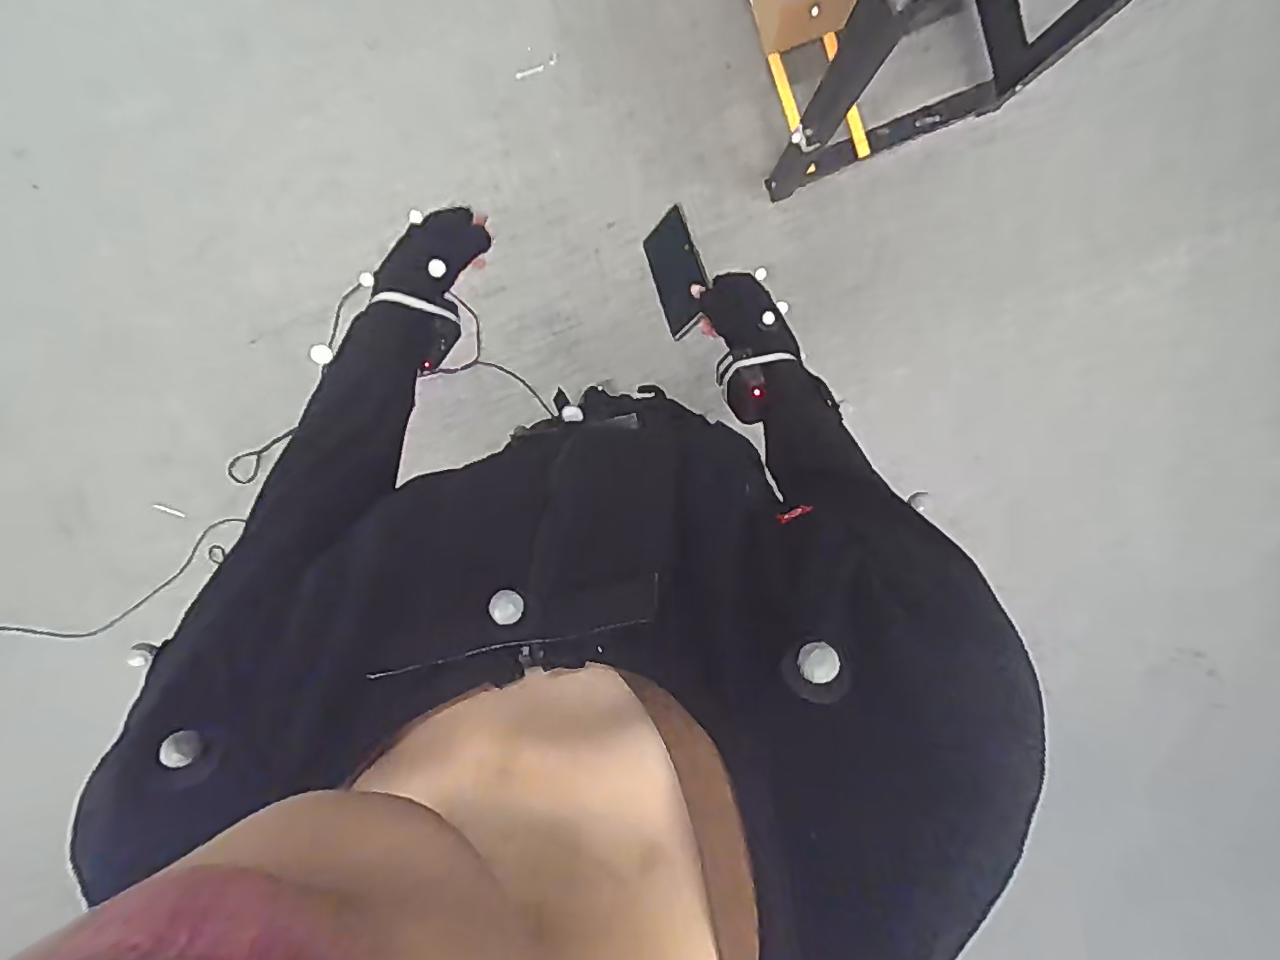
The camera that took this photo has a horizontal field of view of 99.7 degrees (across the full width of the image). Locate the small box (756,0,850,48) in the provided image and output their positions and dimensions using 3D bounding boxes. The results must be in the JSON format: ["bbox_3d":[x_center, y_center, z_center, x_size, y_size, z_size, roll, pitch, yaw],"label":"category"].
[{"bbox_3d":[0.332,-1.033,1.097,0.179,0.176,0.168,-17,99,5],"label":"small box"}]
